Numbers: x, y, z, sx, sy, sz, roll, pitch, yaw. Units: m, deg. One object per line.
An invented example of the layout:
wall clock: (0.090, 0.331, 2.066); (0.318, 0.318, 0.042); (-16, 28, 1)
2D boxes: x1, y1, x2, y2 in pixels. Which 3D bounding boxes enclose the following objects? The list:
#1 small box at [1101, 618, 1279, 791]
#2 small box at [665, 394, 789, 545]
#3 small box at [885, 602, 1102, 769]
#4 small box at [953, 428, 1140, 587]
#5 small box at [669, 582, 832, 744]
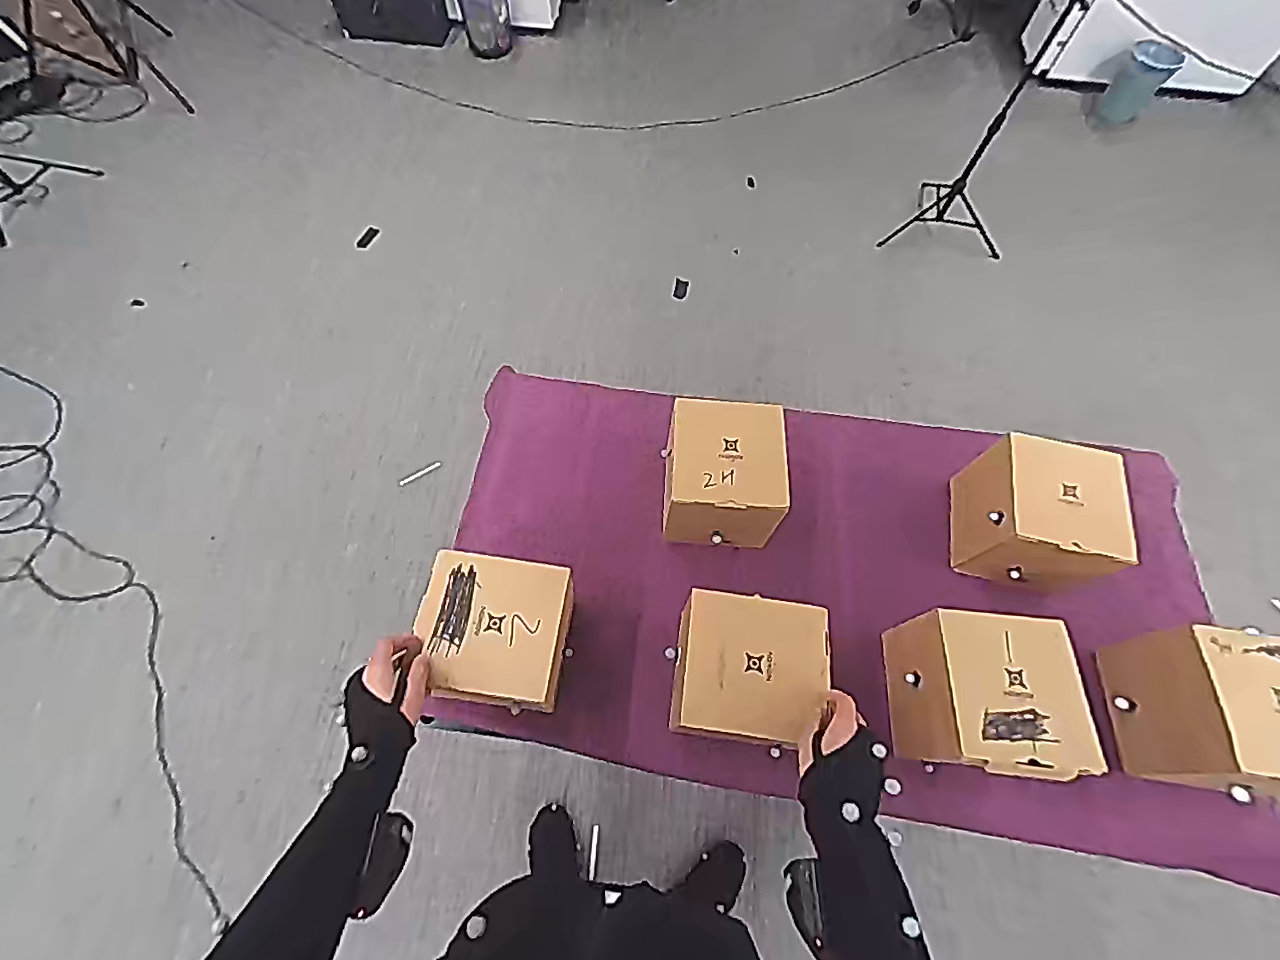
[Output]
small box: (0.770, 0.302, 0.716); (0.168, 0.176, 0.179); (9, 62, 3)
small box: (0.130, -0.013, 0.857); (0.168, 0.176, 0.179); (4, 64, 0)
small box: (0.449, 0.277, 0.721); (0.168, 0.176, 0.179); (6, 62, 1)
small box: (0.614, 0.048, 0.844); (0.168, 0.176, 0.179); (13, 65, 5)
small box: (0.141, 0.250, 0.725); (0.179, 0.176, 0.168); (9, 63, 1)
